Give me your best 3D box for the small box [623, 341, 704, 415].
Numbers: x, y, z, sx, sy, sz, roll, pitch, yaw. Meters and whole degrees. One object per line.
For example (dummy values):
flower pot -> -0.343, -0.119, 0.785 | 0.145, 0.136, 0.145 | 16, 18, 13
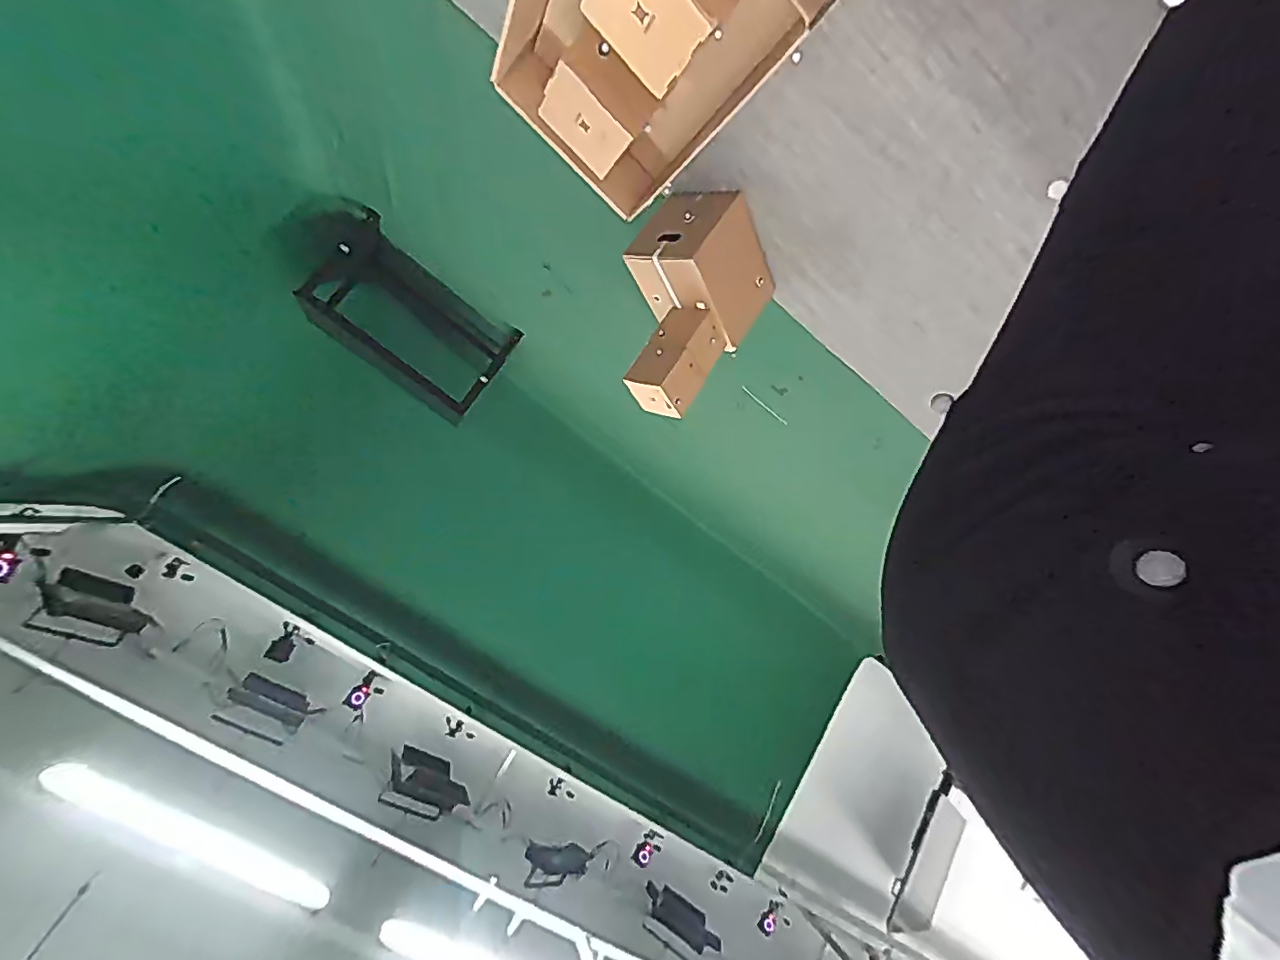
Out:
small box -> 0.083, -0.347, 1.813 | 0.179, 0.176, 0.168 | 20, 161, 40

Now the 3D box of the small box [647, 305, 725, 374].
small box -> 0.161, -0.483, 1.862 | 0.179, 0.176, 0.168 | 19, 160, 39

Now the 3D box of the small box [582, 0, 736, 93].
small box -> 0.049, -0.750, 0.808 | 0.179, 0.176, 0.168 | 37, 165, -21
